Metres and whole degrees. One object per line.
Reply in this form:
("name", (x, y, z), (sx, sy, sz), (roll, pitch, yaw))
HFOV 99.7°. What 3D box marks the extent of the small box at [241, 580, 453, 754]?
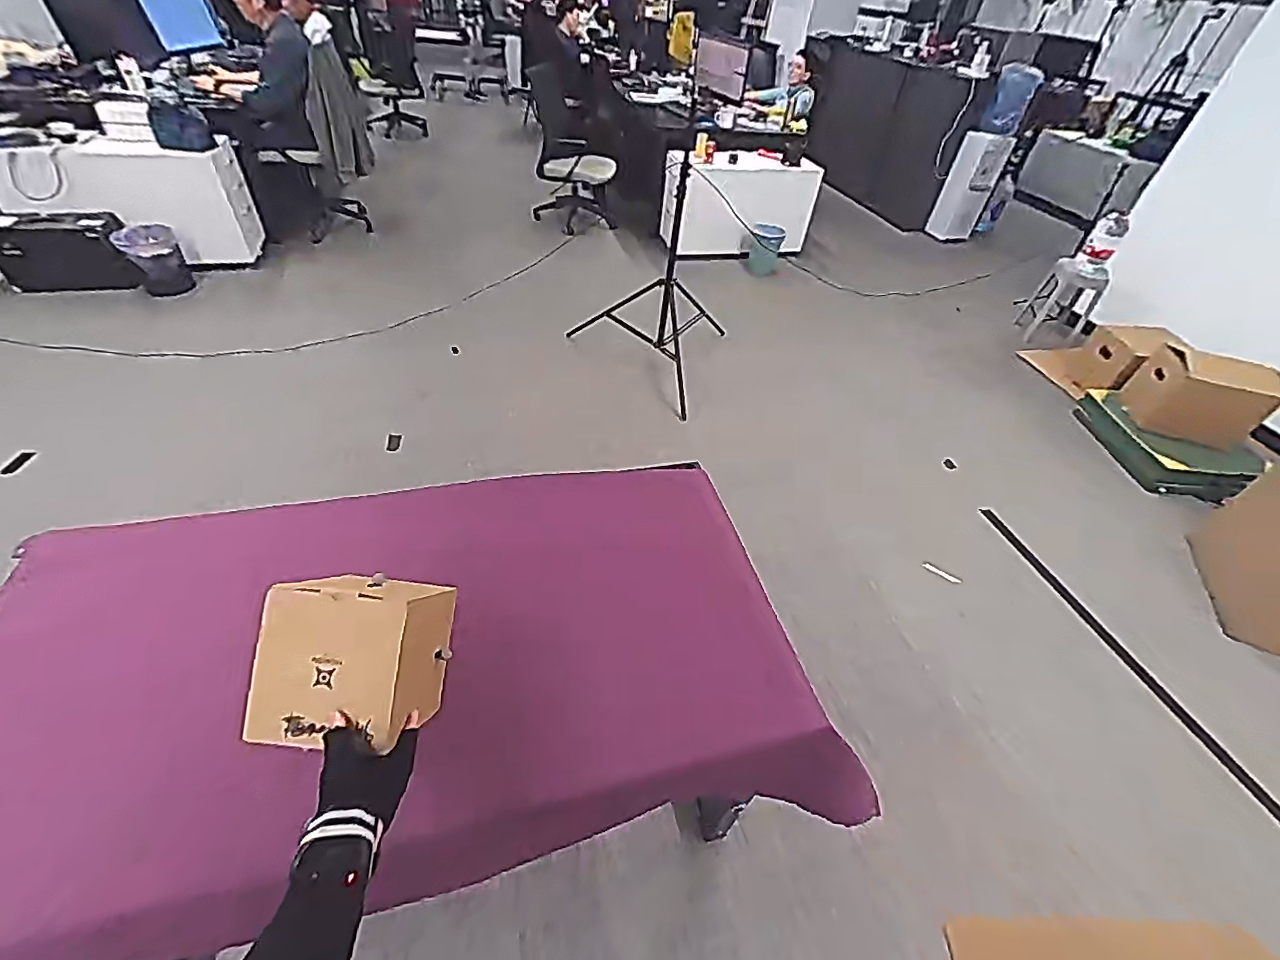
("small box", (-0.354, 0.224, 0.692), (0.168, 0.176, 0.179), (6, 80, 1))
